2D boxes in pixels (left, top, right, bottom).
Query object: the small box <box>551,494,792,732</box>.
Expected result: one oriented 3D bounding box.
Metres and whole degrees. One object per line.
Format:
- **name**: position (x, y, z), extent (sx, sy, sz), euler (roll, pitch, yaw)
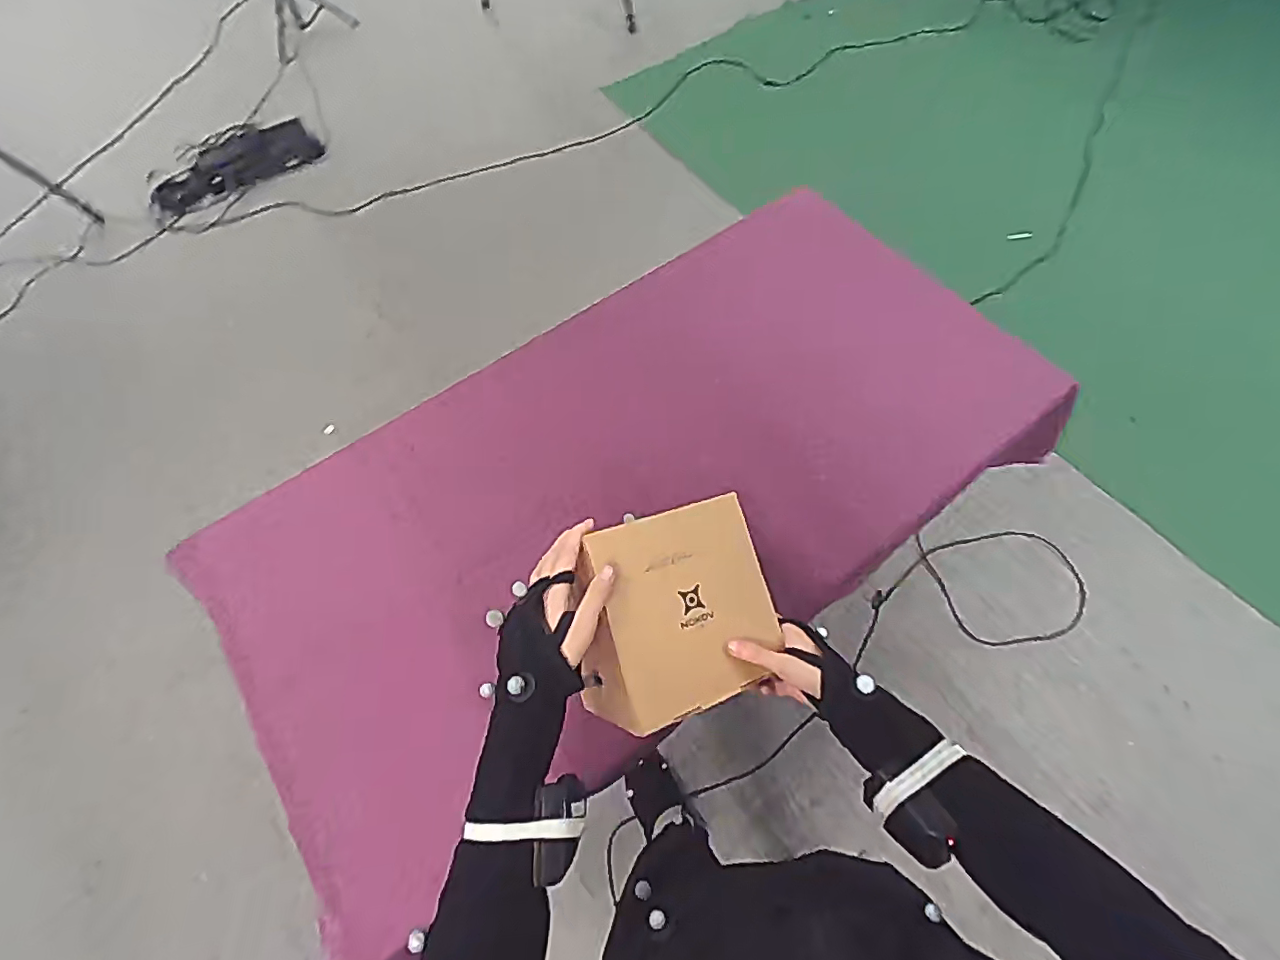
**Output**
- **small box**: position (0.021, 0.127, 0.560), extent (0.168, 0.176, 0.179), euler (-13, 82, -25)
